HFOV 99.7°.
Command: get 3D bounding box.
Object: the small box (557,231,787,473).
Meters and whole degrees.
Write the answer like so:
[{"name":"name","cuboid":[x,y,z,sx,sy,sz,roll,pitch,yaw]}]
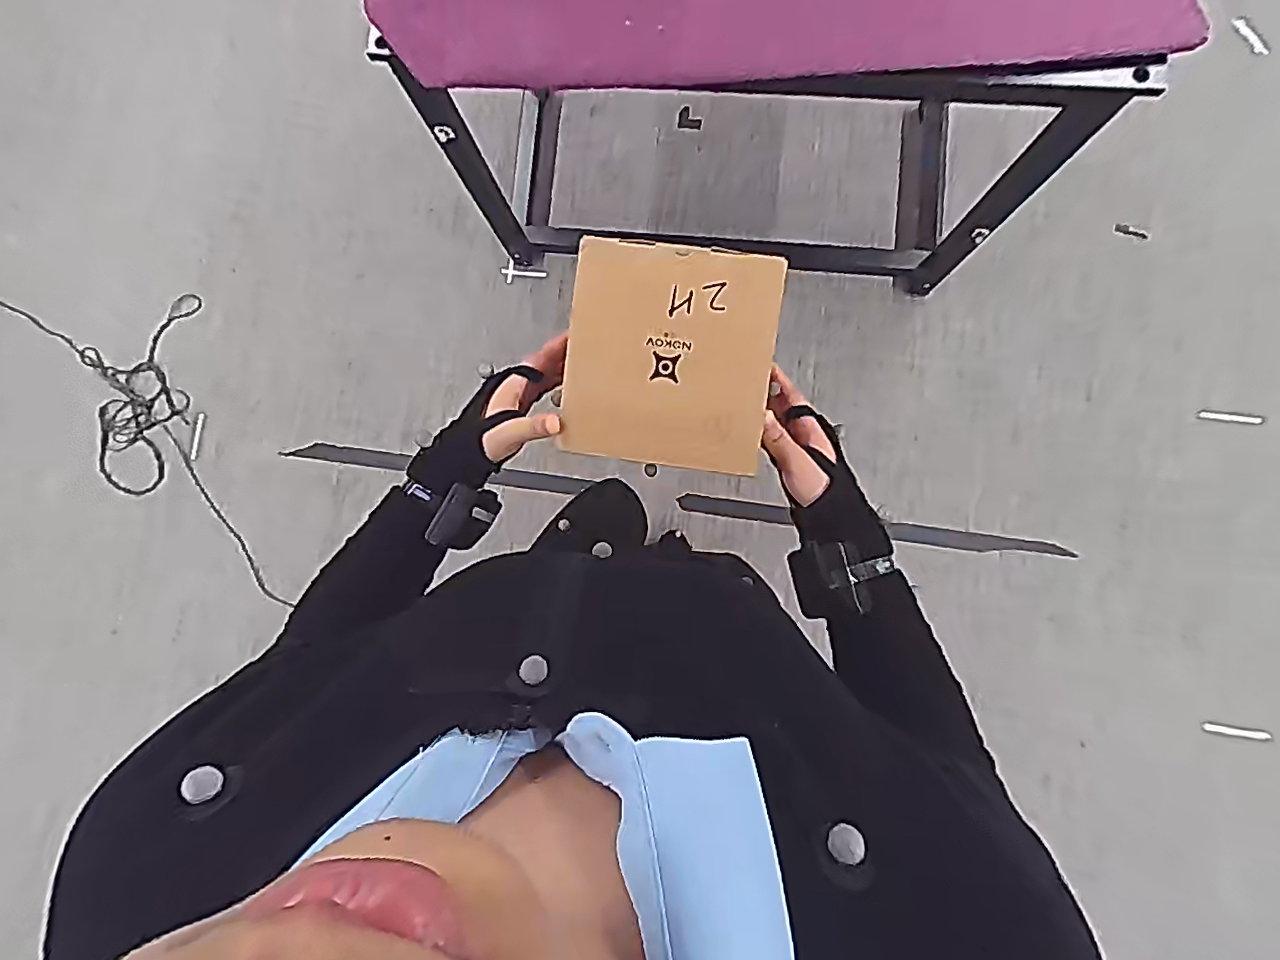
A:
[{"name":"small box","cuboid":[0.029,-0.106,0.509,0.168,0.176,0.179,8,93,3]}]
